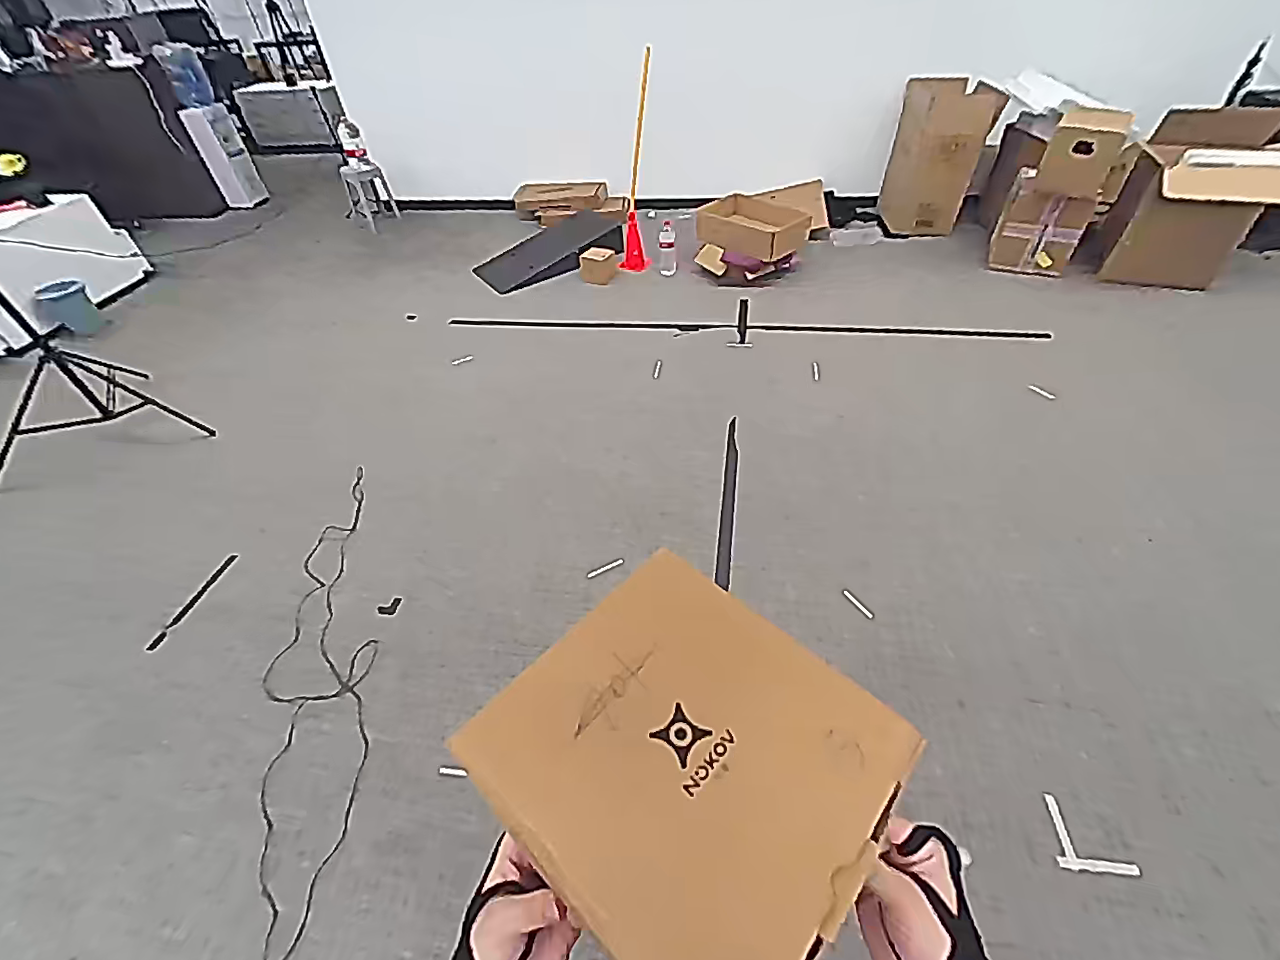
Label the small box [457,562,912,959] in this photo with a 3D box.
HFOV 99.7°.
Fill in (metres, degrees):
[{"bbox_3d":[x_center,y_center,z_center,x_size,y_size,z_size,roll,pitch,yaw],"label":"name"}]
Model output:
[{"bbox_3d":[0.024,0.192,0.332,0.179,0.176,0.168,31,53,30],"label":"small box"}]
